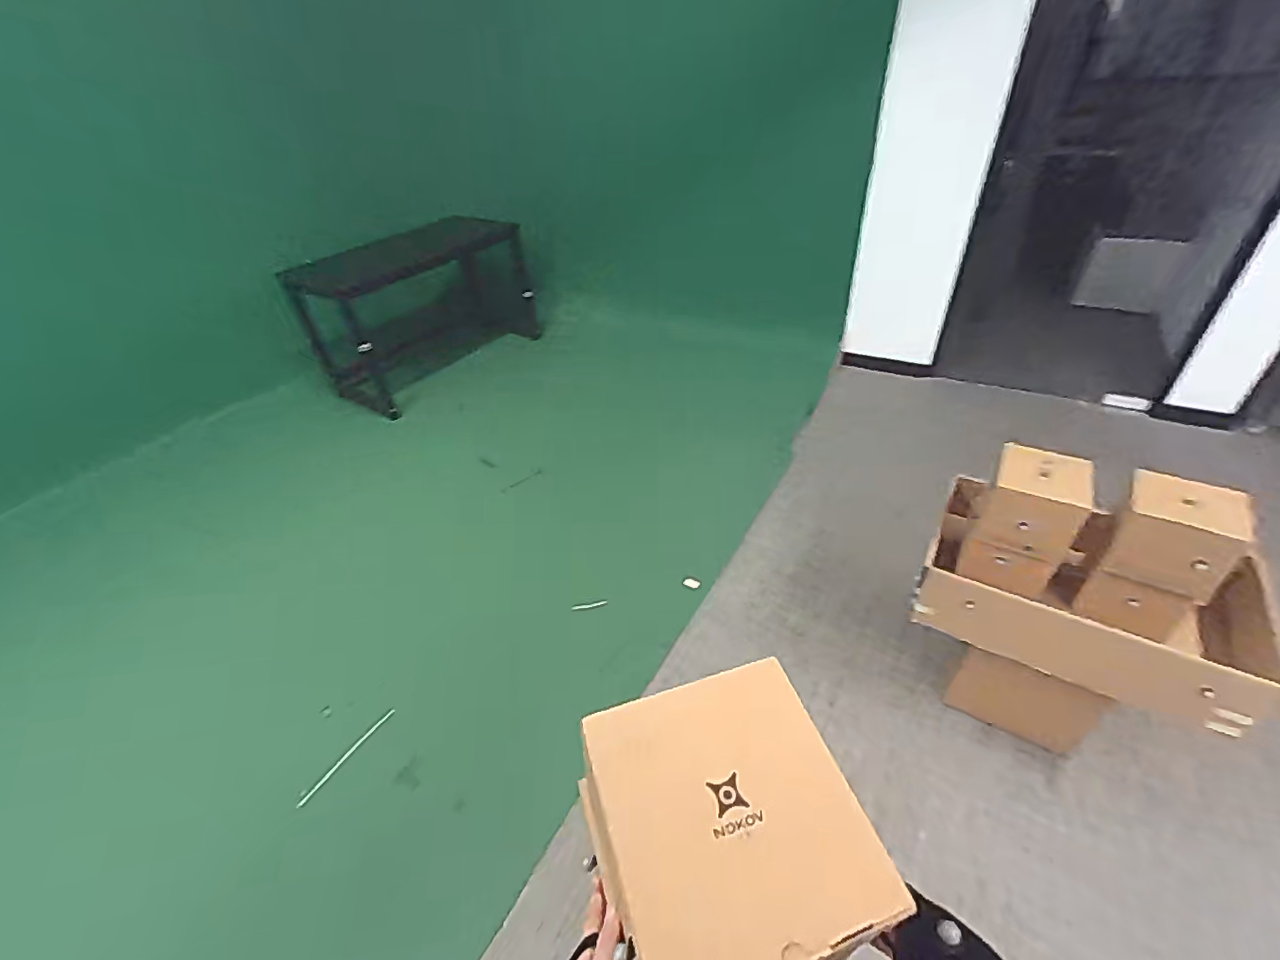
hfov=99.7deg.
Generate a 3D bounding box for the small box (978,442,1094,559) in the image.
[{"bbox_3d":[0.873,0.047,1.201,0.168,0.176,0.179,18,45,28],"label":"small box"}]

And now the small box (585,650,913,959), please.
[{"bbox_3d":[0.058,0.267,0.411,0.168,0.176,0.179,-12,43,-14],"label":"small box"}]

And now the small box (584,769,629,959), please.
[{"bbox_3d":[0.048,0.376,0.534,0.179,0.176,0.168,-11,41,-14],"label":"small box"}]
